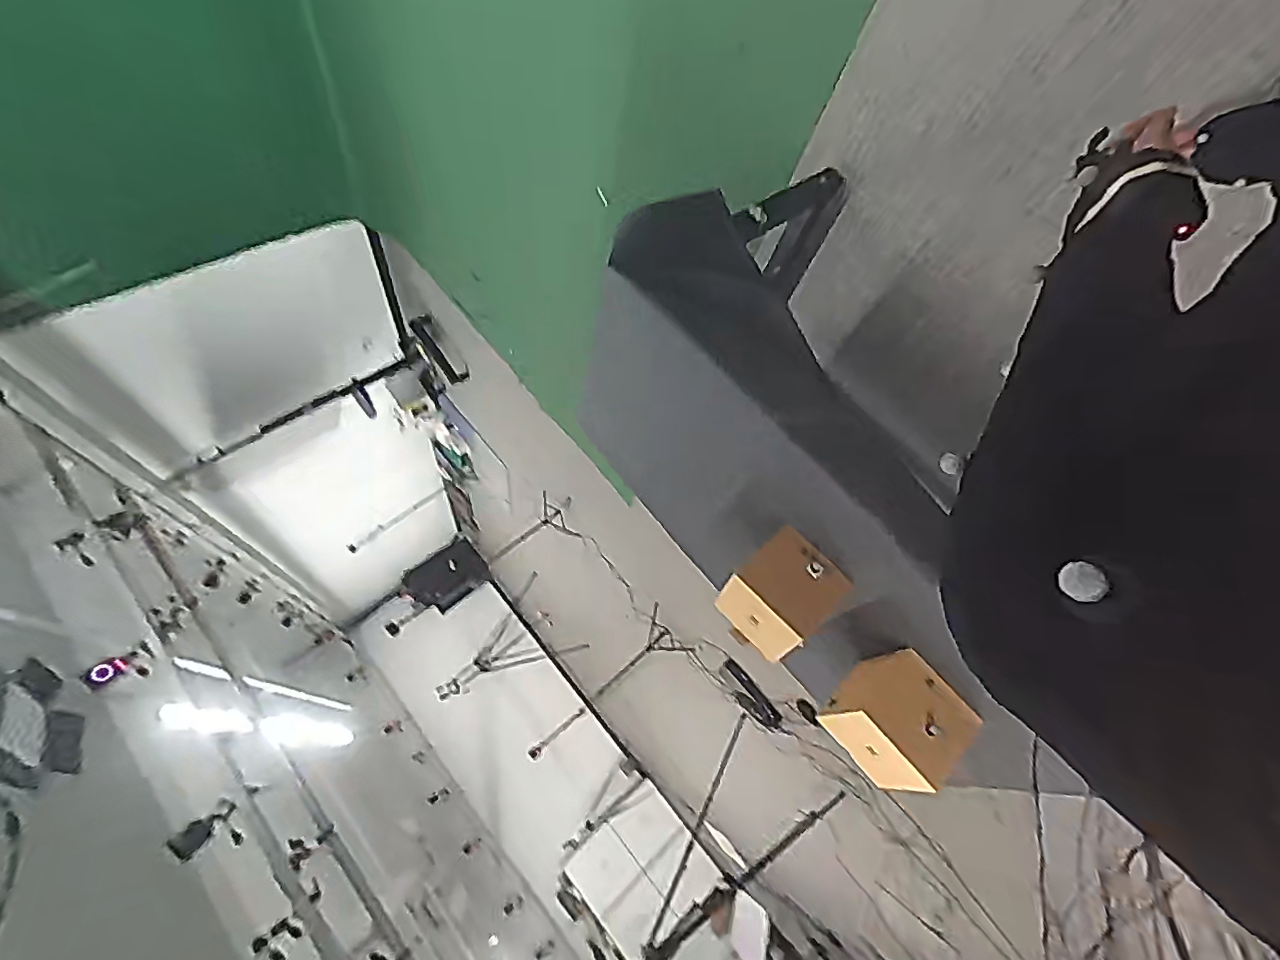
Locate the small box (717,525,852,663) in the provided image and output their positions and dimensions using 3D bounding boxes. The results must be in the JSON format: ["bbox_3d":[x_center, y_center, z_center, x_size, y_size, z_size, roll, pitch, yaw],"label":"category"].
[{"bbox_3d":[0.280,0.222,1.060,0.168,0.176,0.179,43,152,19],"label":"small box"}]

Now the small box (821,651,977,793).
[{"bbox_3d":[0.476,0.438,0.992,0.168,0.176,0.179,47,155,14],"label":"small box"}]
